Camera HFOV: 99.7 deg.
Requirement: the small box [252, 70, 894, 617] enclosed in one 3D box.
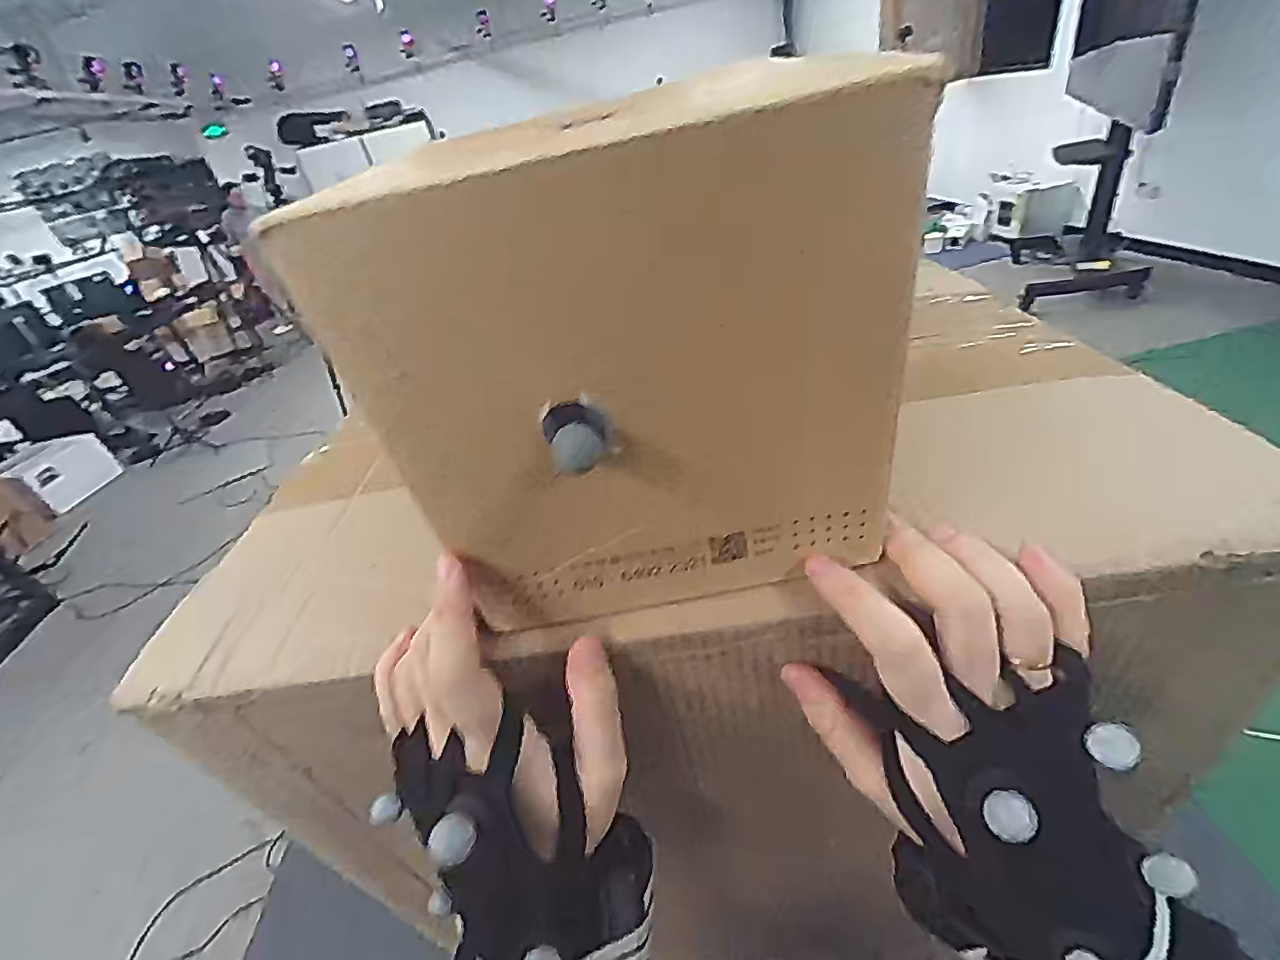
[{"bbox_3d":[-0.008,-0.058,0.242,0.168,0.176,0.179,-11,38,4],"label":"small box"}]
